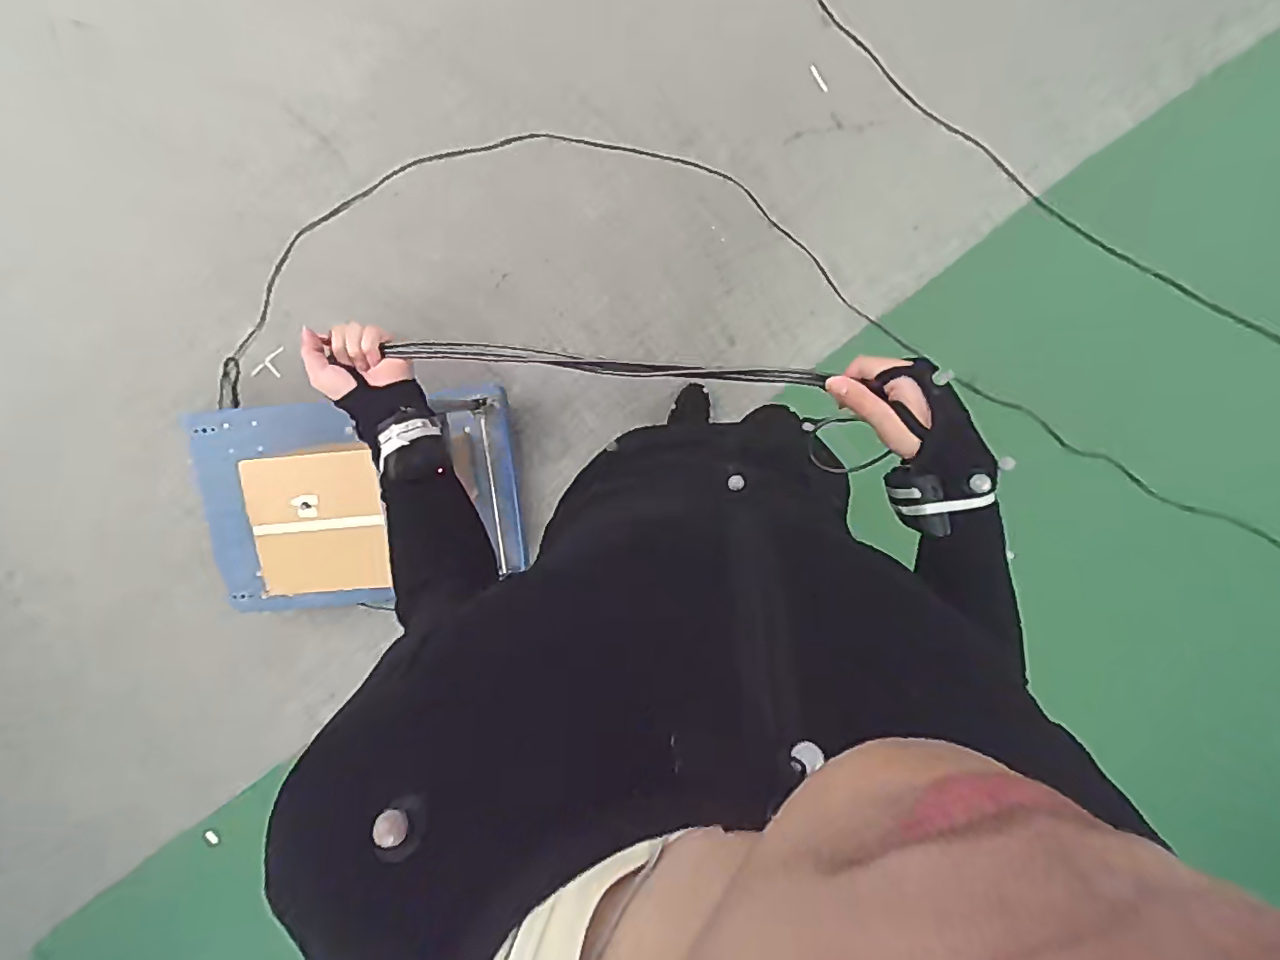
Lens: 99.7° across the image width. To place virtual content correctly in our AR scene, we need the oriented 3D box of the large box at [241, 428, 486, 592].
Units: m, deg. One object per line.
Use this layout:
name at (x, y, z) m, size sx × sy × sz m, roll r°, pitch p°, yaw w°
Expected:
large box at (-0.639, 0.057, 1.319) m, size 0.408 × 0.320 × 0.320 m, roll -5°, pitch 99°, yaw 4°
